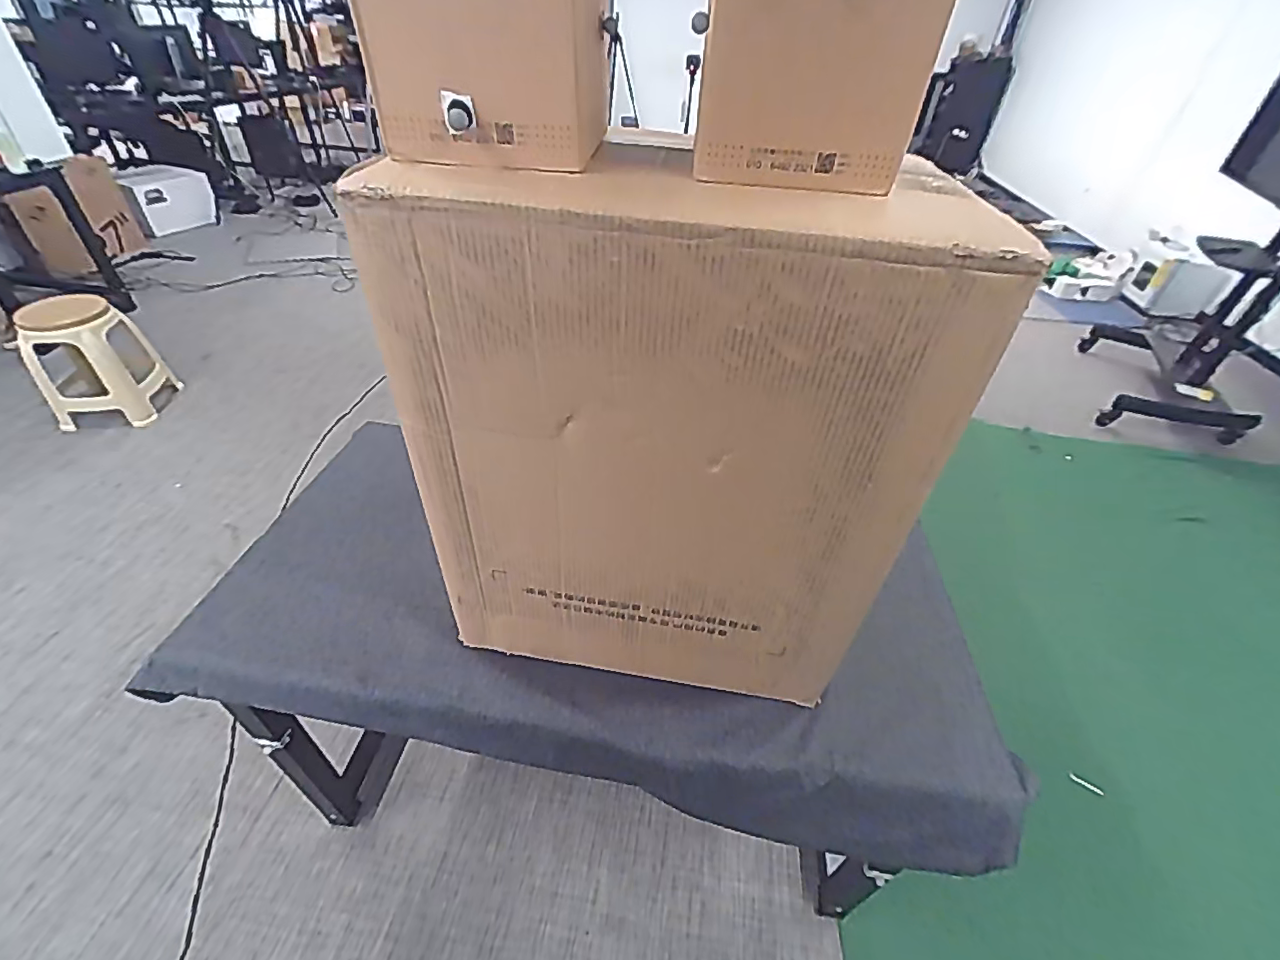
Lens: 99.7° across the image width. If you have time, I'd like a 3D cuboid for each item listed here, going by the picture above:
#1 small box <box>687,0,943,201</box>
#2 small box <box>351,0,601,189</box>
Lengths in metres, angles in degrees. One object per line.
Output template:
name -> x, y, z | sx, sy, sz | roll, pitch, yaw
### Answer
small box -> 0.129, -0.354, 0.458 | 0.168, 0.176, 0.179 | 4, 42, 2
small box -> -0.126, -0.367, 0.463 | 0.168, 0.176, 0.179 | 2, 43, 3
